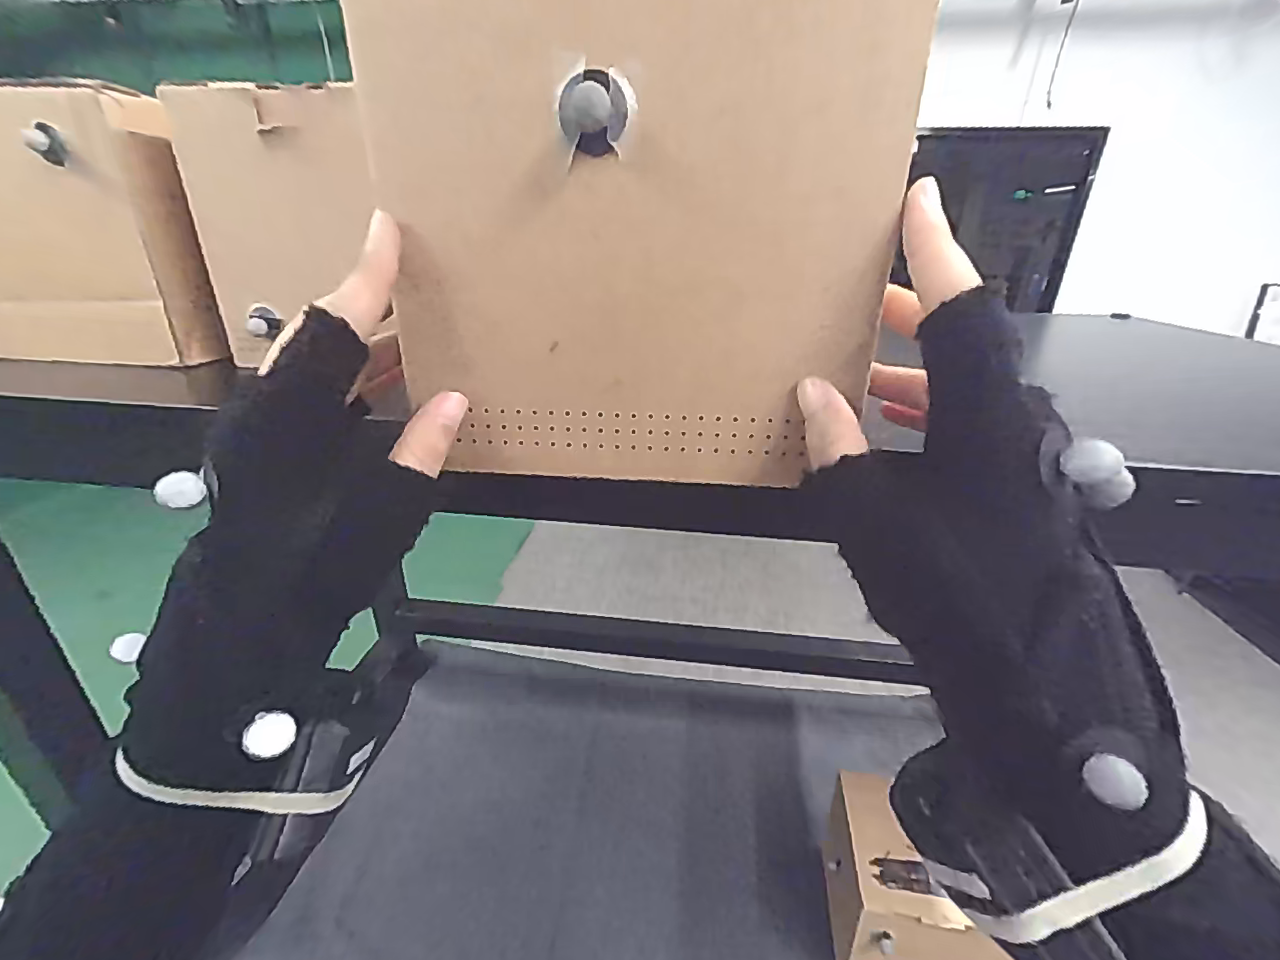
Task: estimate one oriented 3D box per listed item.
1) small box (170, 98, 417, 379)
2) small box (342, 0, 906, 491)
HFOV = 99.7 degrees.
[{"bbox_3d":[-0.196,-0.180,0.425,0.168,0.176,0.179,4,23,4],"label":"small box"},{"bbox_3d":[0.000,-0.103,0.262,0.179,0.176,0.168,3,25,5],"label":"small box"}]
